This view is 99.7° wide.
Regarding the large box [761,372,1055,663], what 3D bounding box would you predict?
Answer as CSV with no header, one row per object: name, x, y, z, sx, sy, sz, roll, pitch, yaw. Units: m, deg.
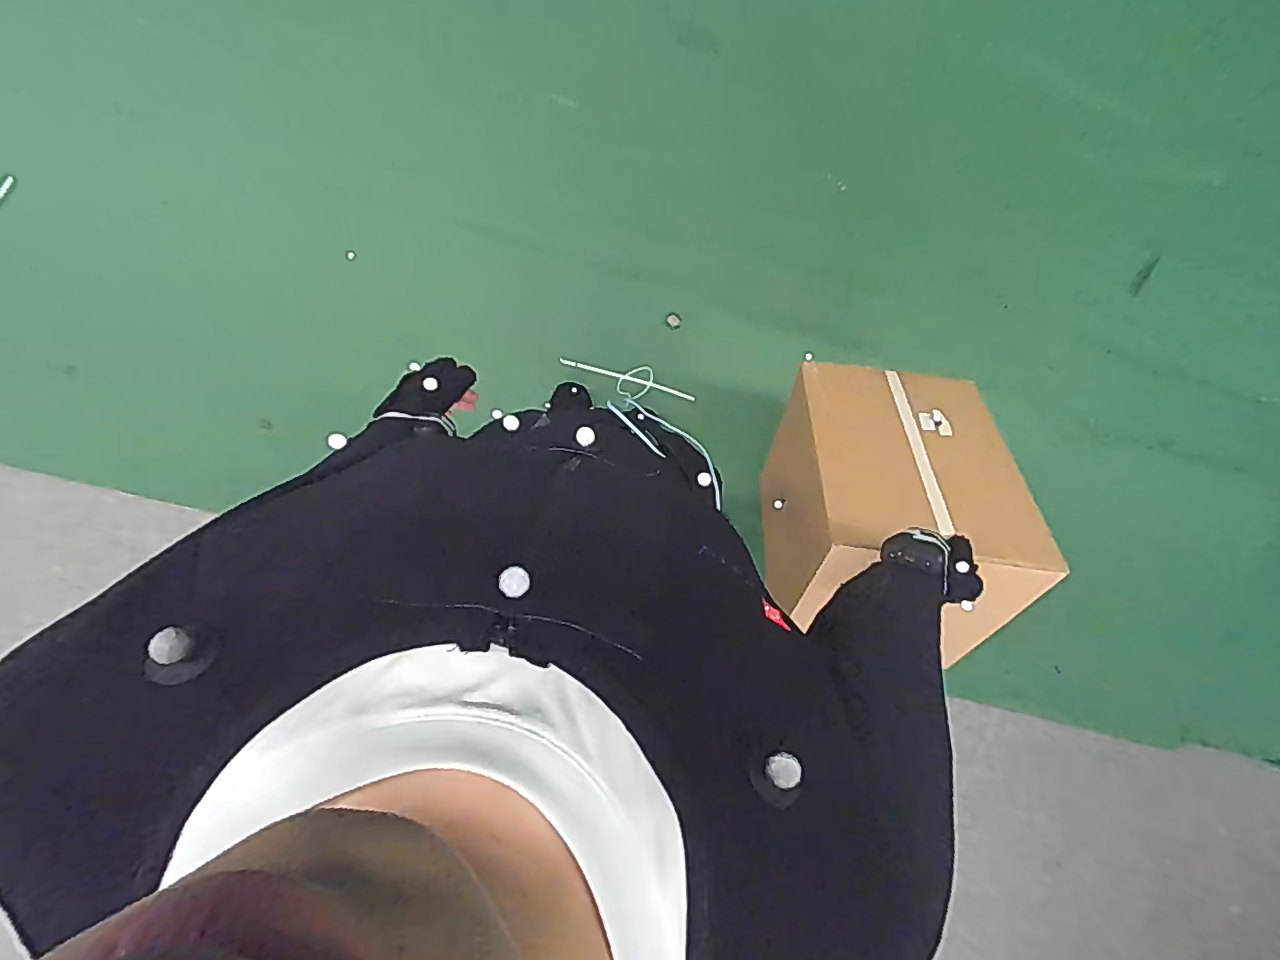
large box,0.412,0.064,0.964,0.320,0.408,0.320,8,137,-1
